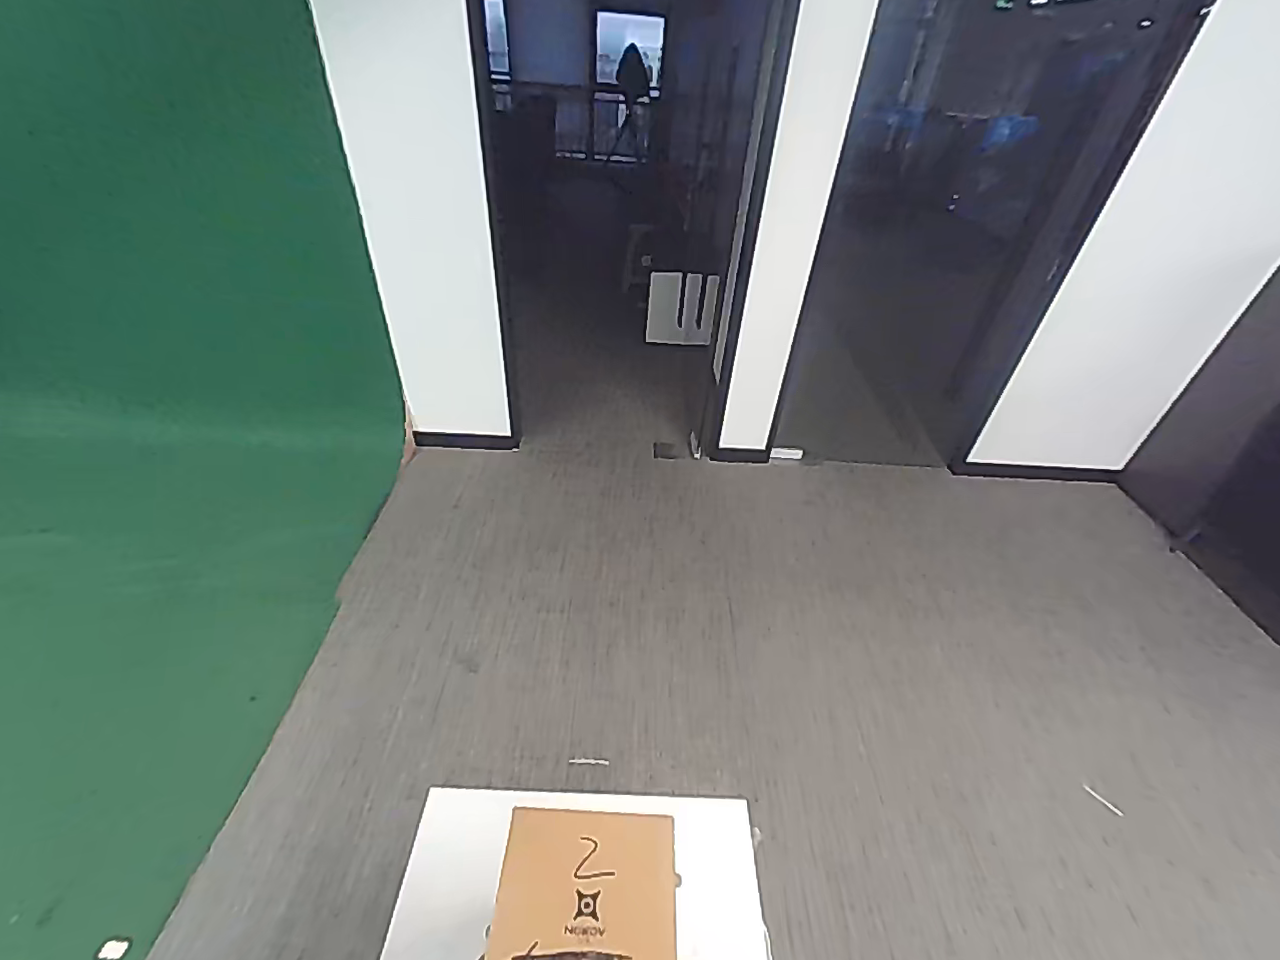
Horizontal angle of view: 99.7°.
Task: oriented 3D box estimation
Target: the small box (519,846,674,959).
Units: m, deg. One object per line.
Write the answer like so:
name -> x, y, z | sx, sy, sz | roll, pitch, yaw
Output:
small box -> -0.052, 0.564, 0.631 | 0.168, 0.176, 0.179 | 5, 38, 0
